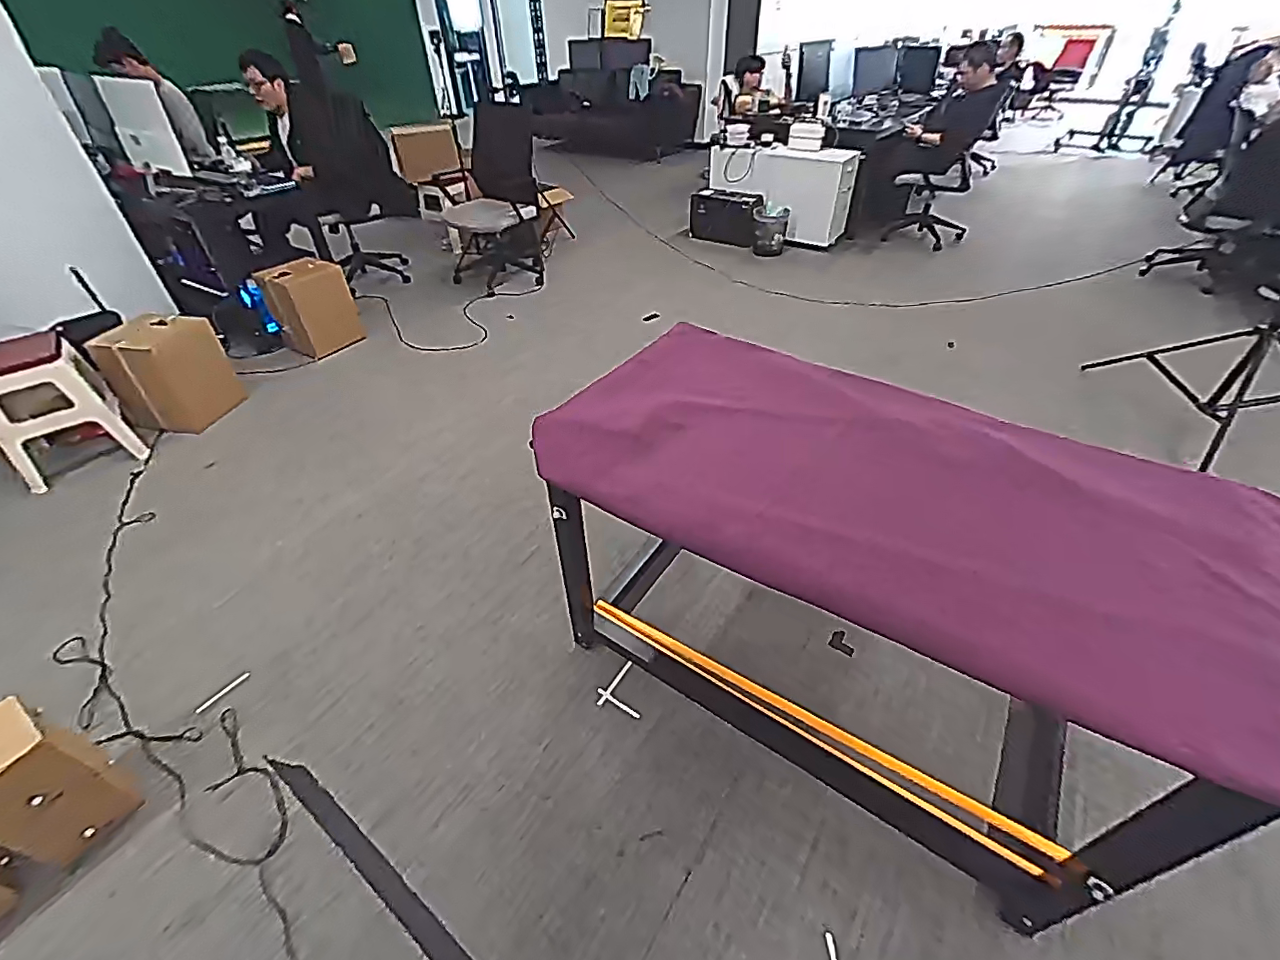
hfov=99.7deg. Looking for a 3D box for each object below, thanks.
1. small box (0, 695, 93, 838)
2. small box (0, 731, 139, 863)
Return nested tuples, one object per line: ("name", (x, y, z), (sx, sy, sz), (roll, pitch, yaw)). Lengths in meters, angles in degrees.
("small box", (-1.291, 0.585, 1.099), (0.179, 0.176, 0.168), (23, 47, 24))
("small box", (-1.291, 0.710, 1.207), (0.179, 0.176, 0.168), (25, 47, 25))
